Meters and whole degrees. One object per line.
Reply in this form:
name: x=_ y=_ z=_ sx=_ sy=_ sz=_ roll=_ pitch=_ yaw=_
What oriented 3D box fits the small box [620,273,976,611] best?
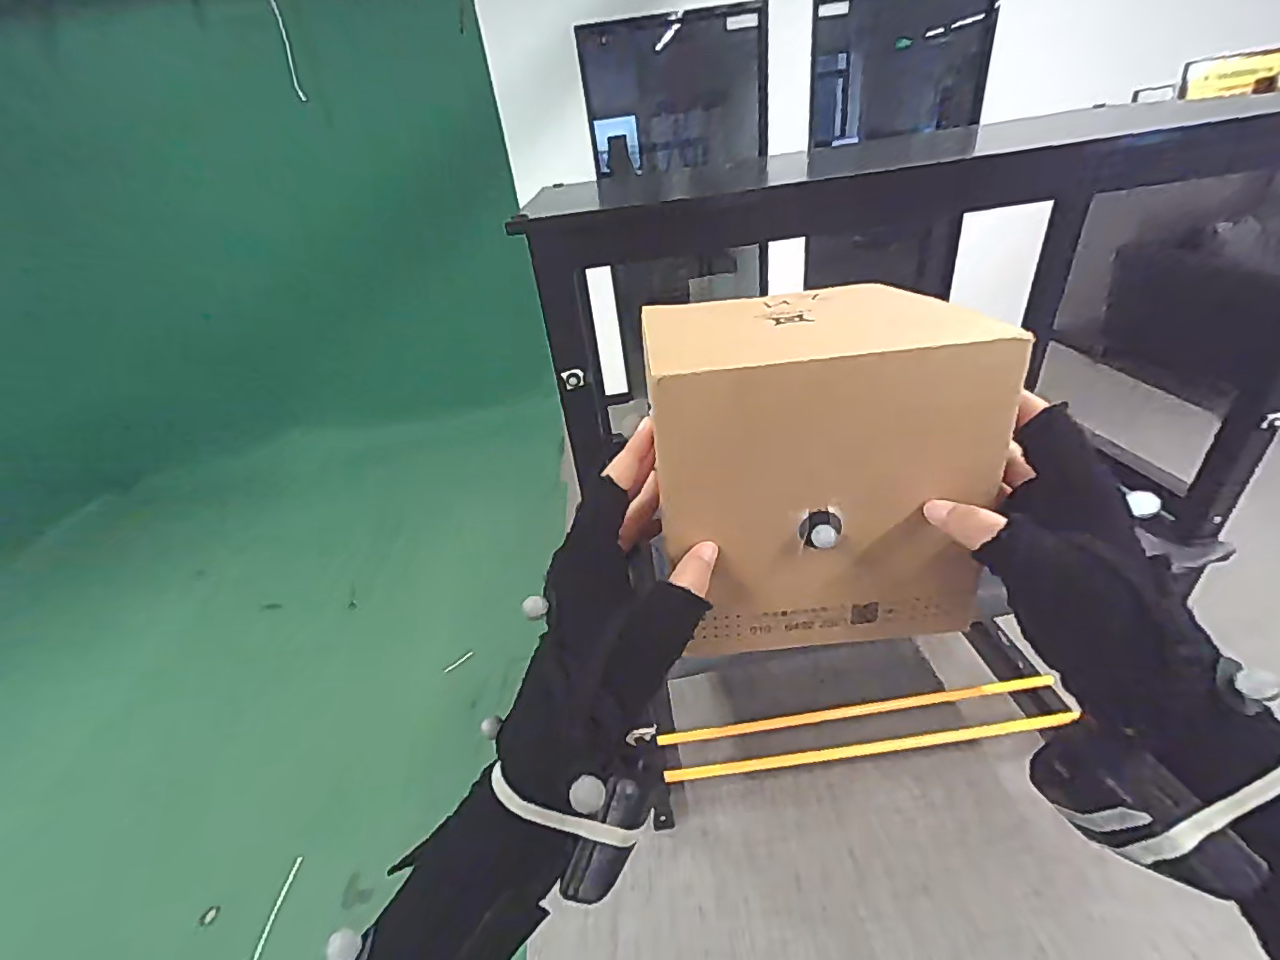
small box: x=0.080 y=-0.029 z=0.354 sx=0.168 sy=0.176 sz=0.179 roll=-5 pitch=26 yaw=2
